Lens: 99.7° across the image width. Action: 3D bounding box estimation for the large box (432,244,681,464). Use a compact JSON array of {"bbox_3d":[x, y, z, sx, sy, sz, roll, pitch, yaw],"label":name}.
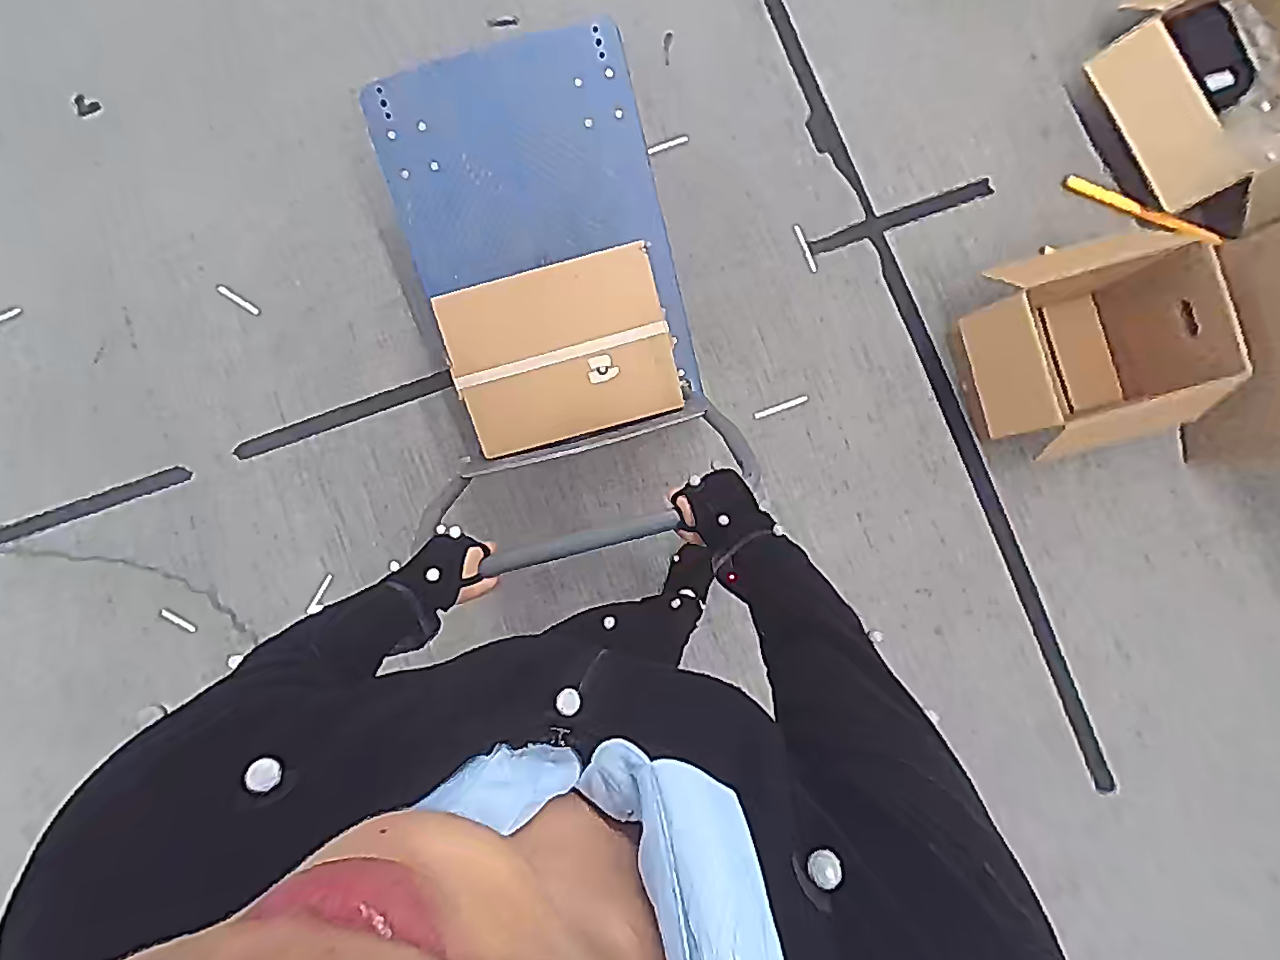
[{"bbox_3d":[-0.159,-0.261,1.155,0.408,0.320,0.320,-16,105,0],"label":"large box"}]
